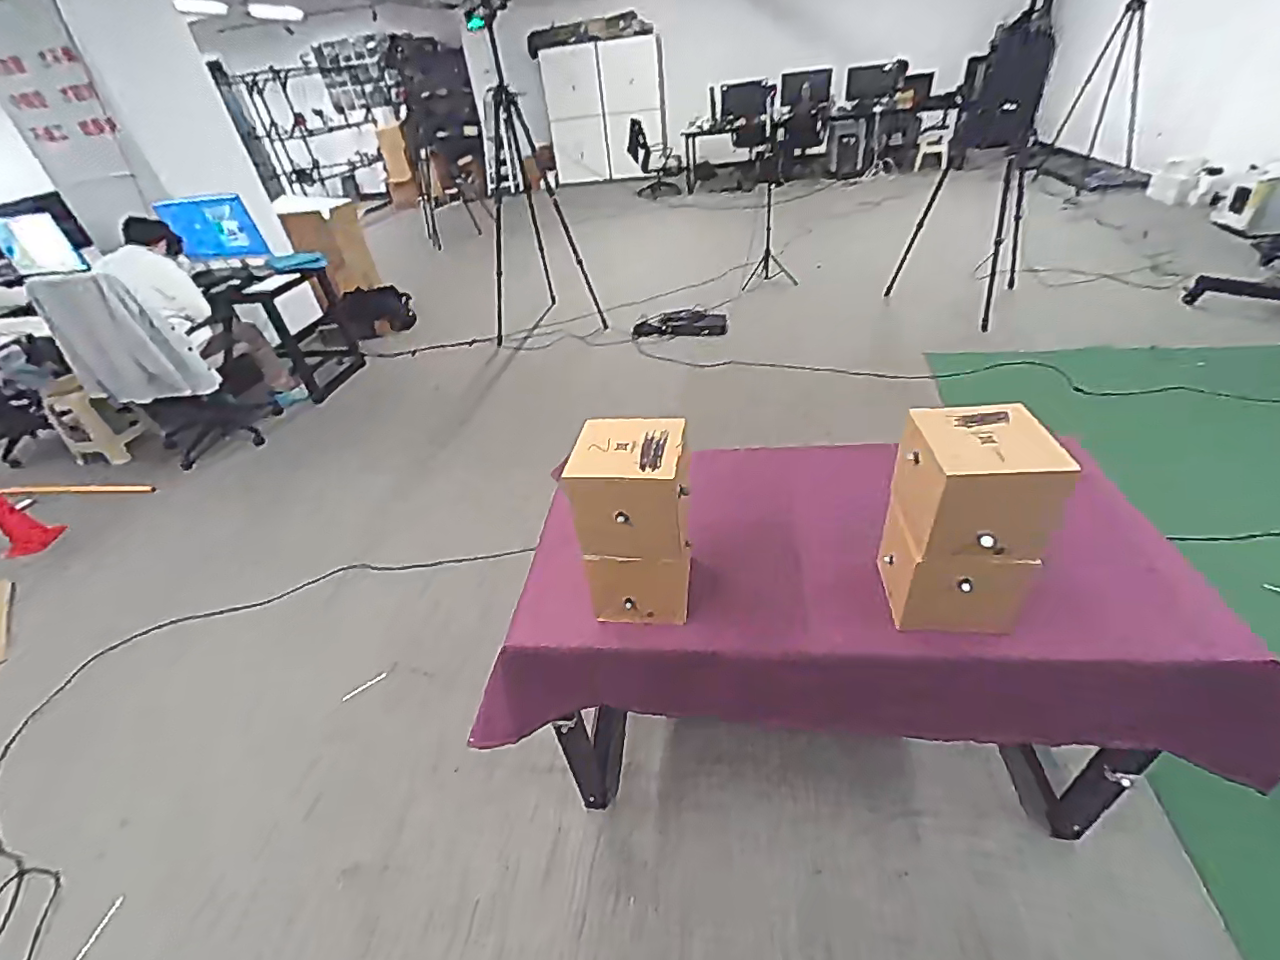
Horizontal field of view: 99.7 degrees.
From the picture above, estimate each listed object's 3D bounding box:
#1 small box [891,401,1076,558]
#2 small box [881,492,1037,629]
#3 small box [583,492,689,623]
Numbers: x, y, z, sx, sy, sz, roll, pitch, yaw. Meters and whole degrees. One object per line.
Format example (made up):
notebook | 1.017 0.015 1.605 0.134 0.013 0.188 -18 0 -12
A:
small box | 0.497 -0.002 0.818 0.168 0.176 0.179 -3 38 9
small box | 0.516 0.133 0.911 0.179 0.176 0.168 -1 38 10
small box | 0.002 0.141 1.005 0.168 0.176 0.179 -1 38 10
